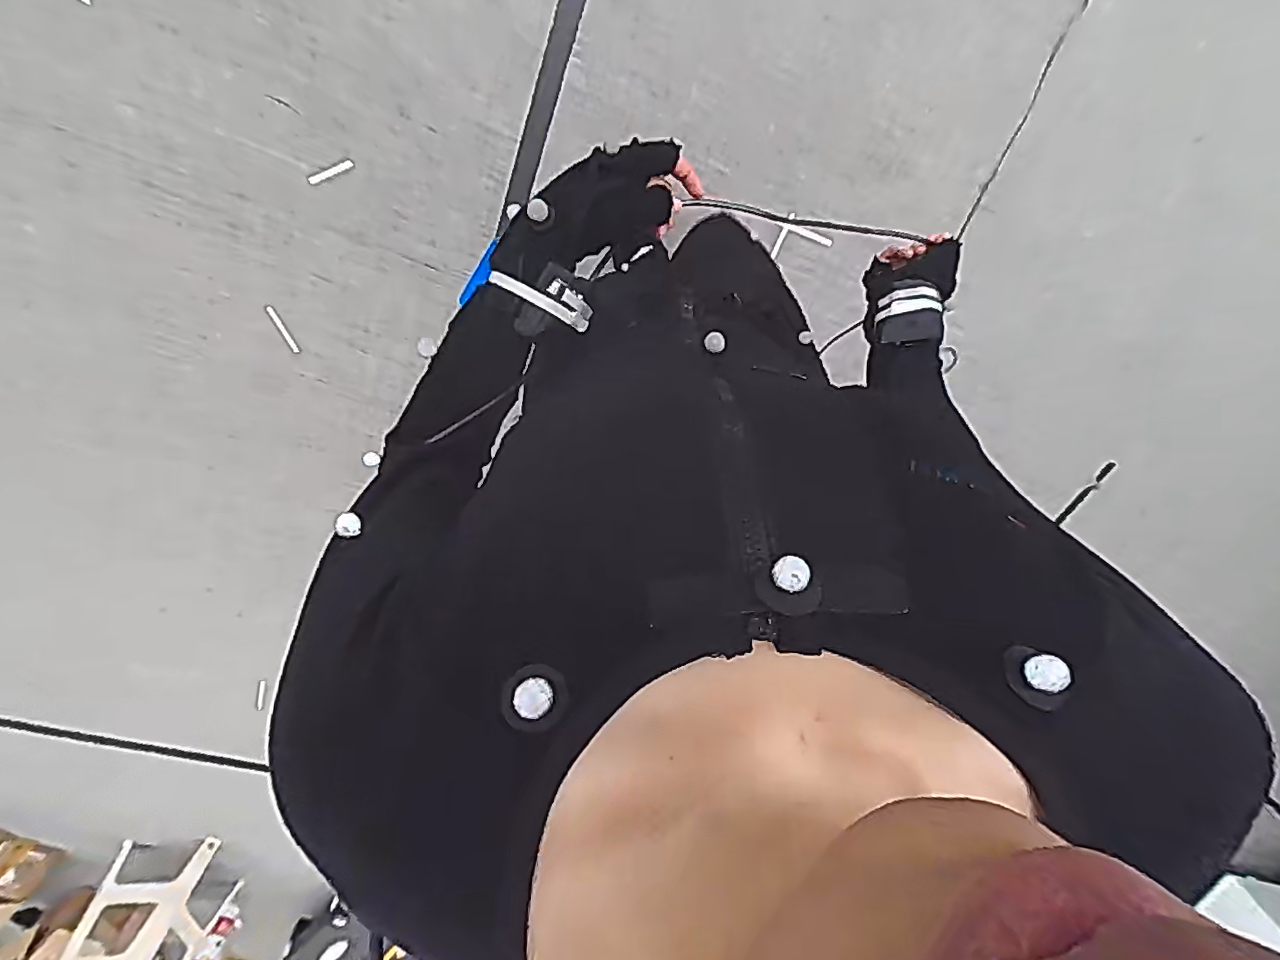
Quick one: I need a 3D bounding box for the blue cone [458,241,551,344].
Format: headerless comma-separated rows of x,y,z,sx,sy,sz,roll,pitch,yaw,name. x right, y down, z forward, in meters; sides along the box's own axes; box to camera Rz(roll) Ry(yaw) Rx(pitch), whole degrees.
-0.320,-0.372,1.166,0.192,0.380,0.193,34,111,-18,blue cone
